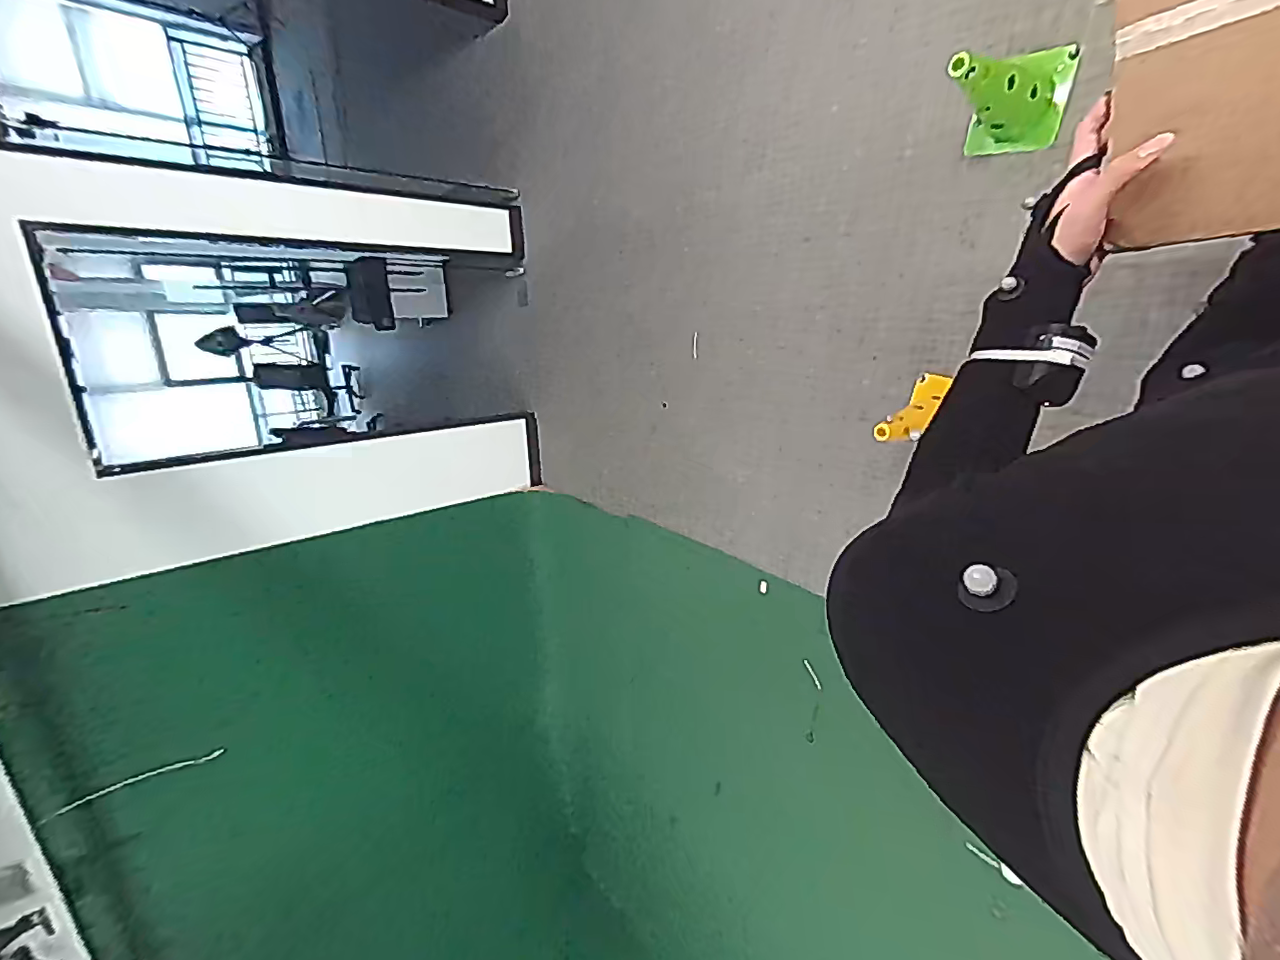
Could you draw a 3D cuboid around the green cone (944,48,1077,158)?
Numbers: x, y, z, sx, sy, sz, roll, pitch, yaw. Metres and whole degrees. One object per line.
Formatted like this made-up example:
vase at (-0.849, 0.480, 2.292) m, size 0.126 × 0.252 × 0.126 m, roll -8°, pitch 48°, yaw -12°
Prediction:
green cone at (0.766, -0.855, 1.189) m, size 0.200 × 0.368 × 0.202 m, roll 26°, pitch 122°, yaw 45°
